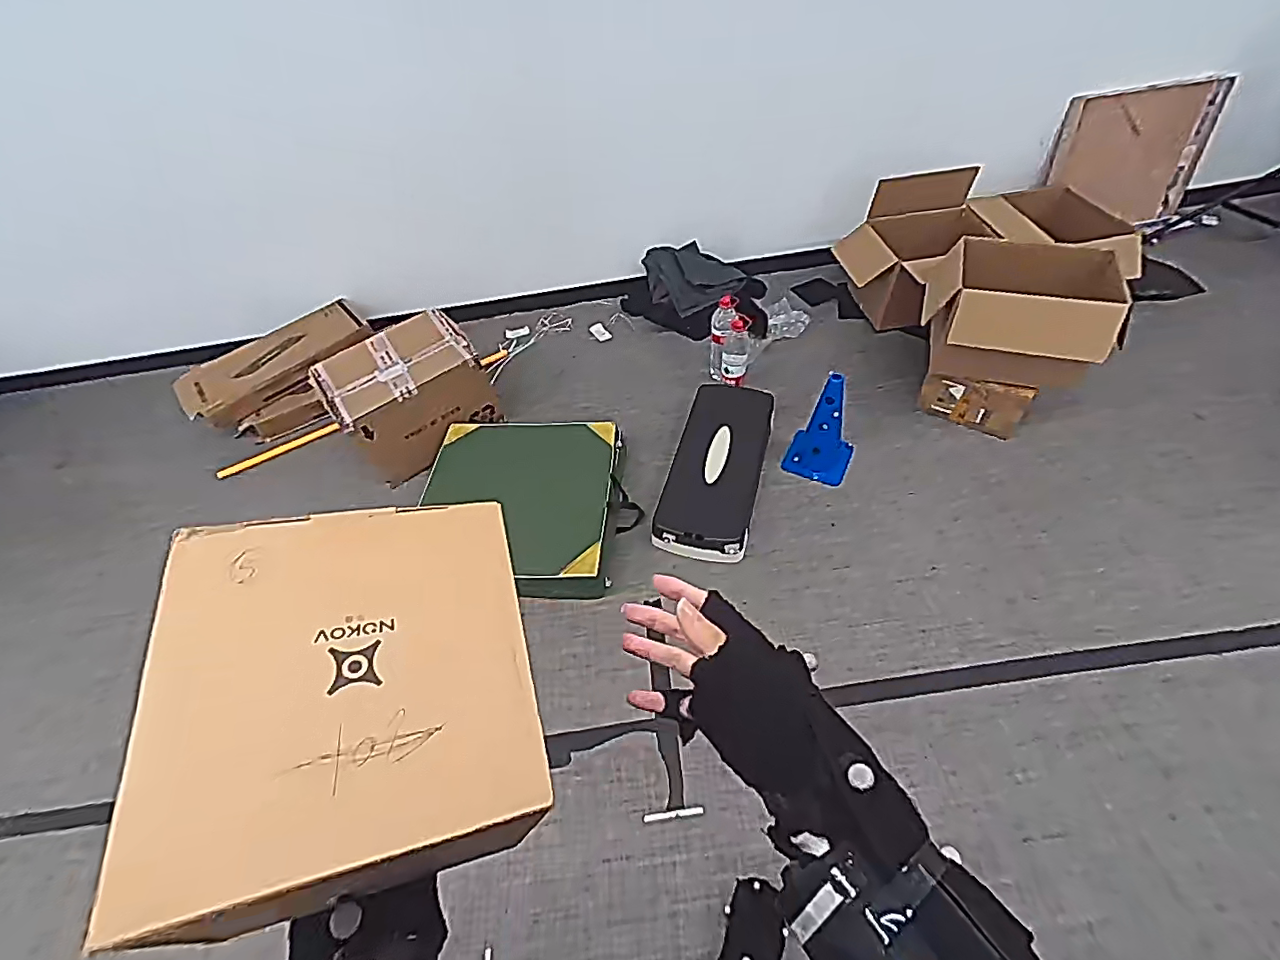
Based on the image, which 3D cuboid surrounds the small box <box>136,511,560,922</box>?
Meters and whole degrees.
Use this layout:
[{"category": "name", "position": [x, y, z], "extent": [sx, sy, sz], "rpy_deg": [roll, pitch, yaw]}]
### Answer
[{"category": "small box", "position": [-0.159, 0.141, 0.337], "extent": [0.168, 0.176, 0.179], "rpy_deg": [-4, 53, -23]}]
